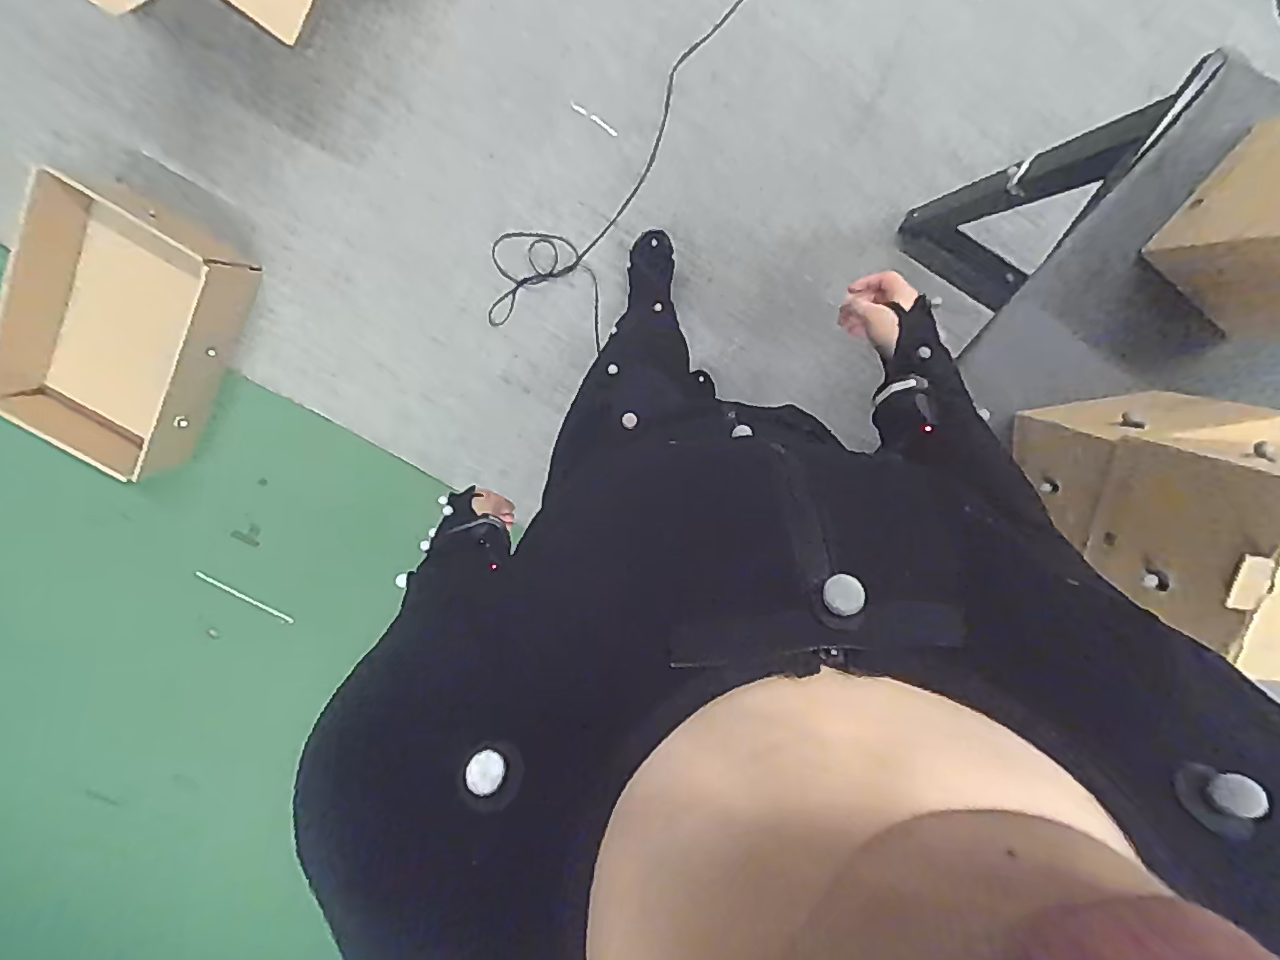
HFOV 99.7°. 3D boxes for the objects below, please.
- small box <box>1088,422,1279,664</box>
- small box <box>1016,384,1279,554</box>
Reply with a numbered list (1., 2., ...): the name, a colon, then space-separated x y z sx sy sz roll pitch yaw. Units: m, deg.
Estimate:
1. small box: 0.559 0.046 0.480 0.179 0.176 0.168 2 108 0
2. small box: 0.578 -0.011 0.632 0.179 0.176 0.168 -9 107 4
